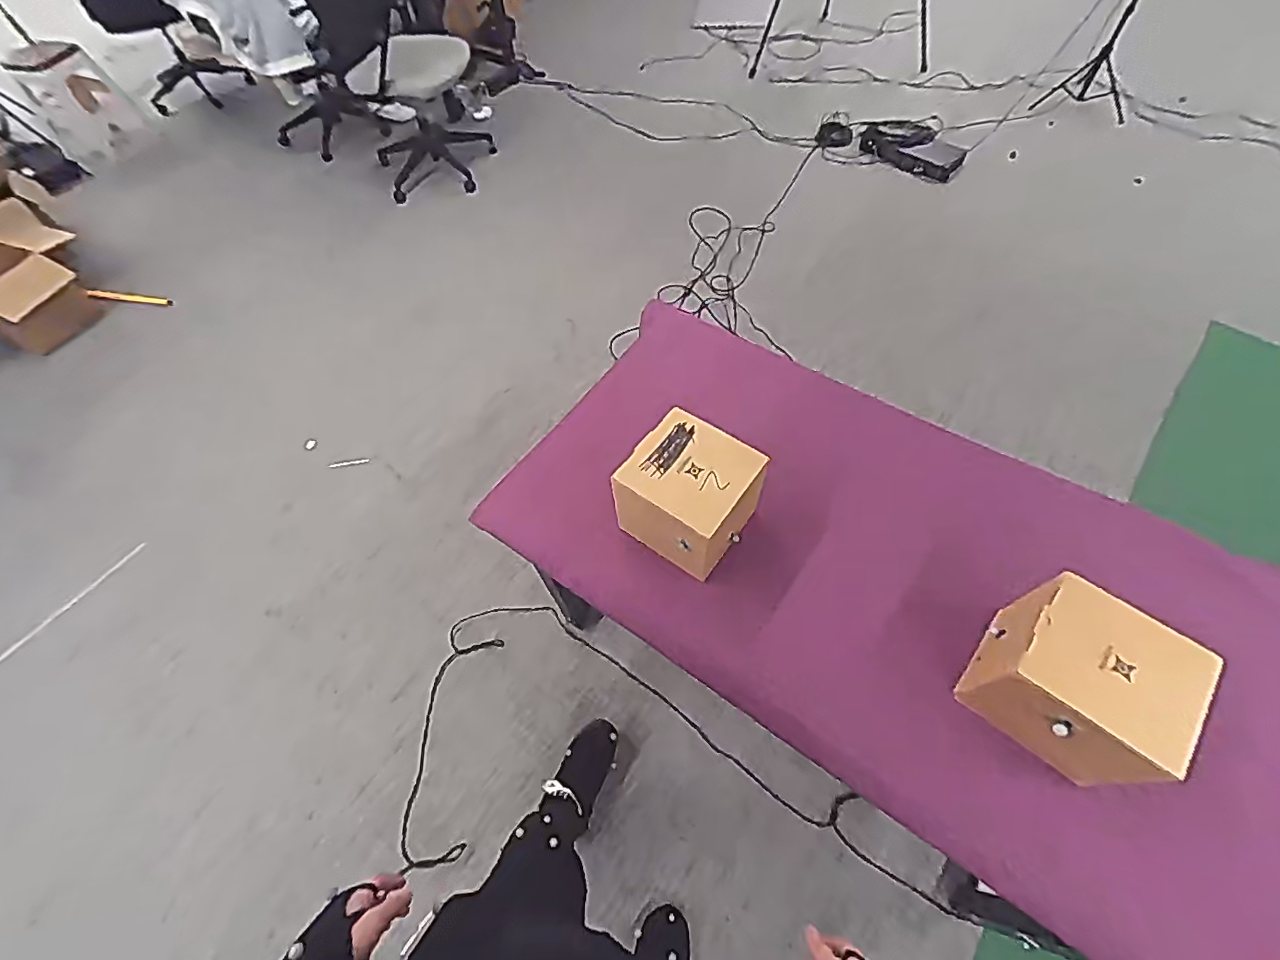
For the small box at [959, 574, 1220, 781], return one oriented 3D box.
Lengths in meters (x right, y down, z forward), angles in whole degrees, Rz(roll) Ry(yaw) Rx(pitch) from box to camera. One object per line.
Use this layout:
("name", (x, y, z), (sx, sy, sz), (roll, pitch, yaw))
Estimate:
("small box", (0.563, 0.258, 0.701), (0.179, 0.176, 0.168), (35, 67, 23))
